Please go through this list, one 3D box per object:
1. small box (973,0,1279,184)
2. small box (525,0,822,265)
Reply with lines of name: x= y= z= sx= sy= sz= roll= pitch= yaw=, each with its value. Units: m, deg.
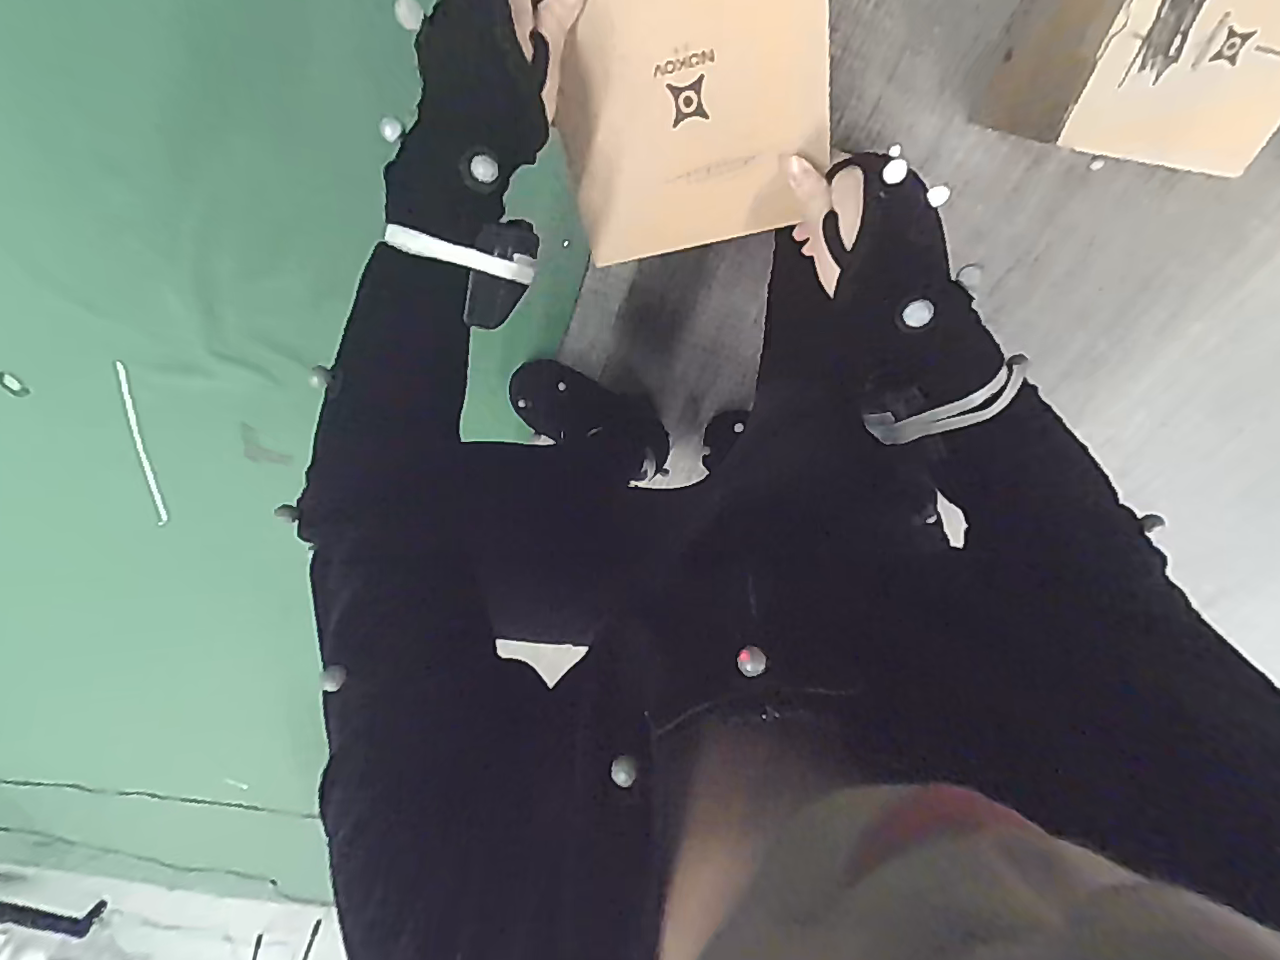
small box: x=0.449 y=-0.385 z=0.487 sx=0.179 sy=0.176 sz=0.168 roll=7 pitch=128 yaw=-3
small box: x=0.030 y=-0.281 z=0.391 sx=0.168 sy=0.176 sz=0.179 roll=-7 pitch=128 yaw=10
